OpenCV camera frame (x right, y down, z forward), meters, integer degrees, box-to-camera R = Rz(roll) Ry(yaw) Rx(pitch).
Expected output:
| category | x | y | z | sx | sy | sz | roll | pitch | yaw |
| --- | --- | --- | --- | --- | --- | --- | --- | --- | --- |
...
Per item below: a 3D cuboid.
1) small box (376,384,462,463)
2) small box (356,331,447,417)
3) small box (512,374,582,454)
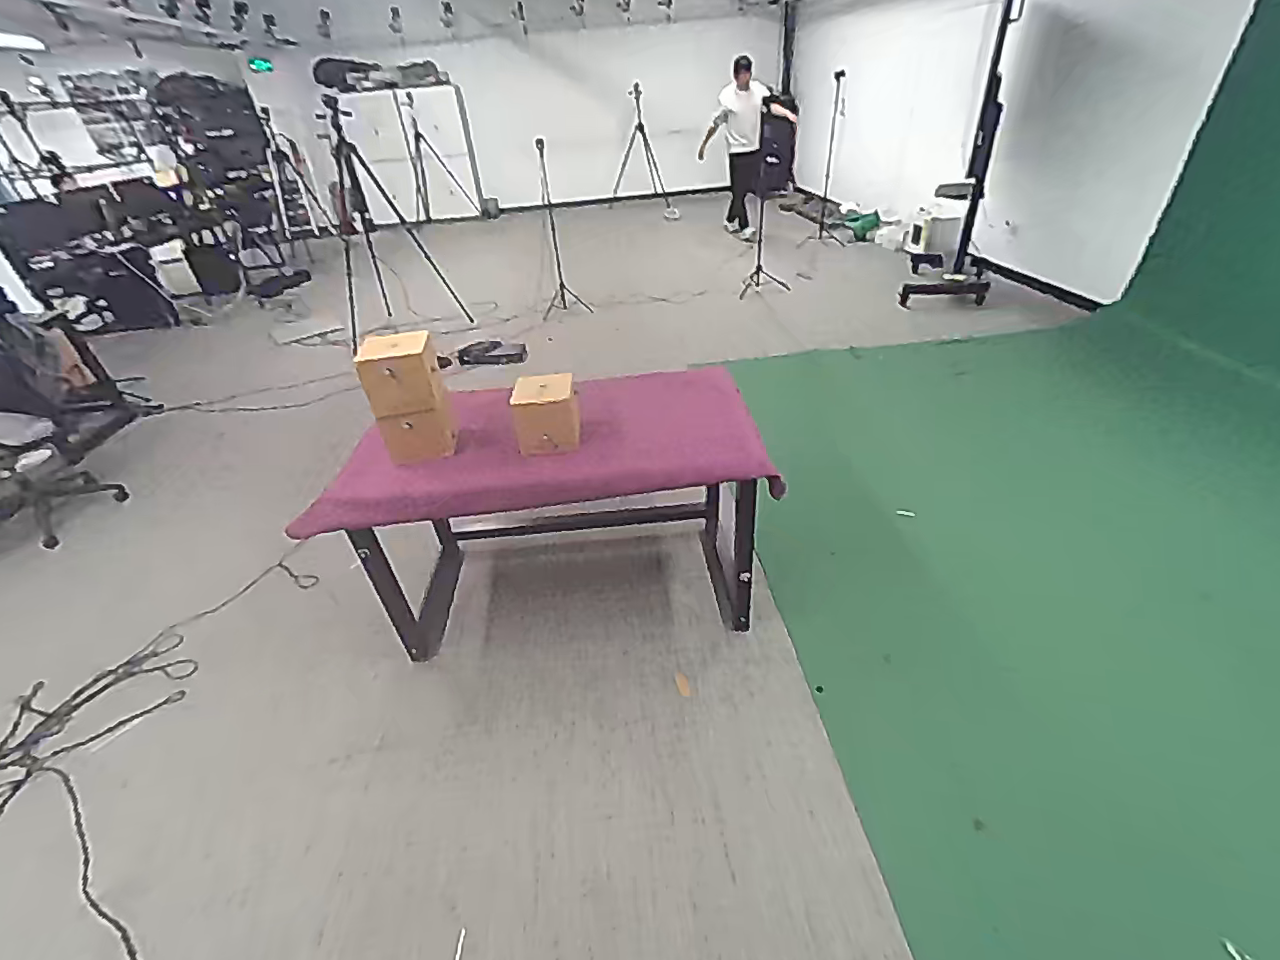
| category | x | y | z | sx | sy | sz | roll | pitch | yaw |
| --- | --- | --- | --- | --- | --- | --- | --- | --- | --- |
| small box | -0.642 | -0.163 | 1.590 | 0.179 | 0.176 | 0.168 | -8 | 36 | -5 |
| small box | -0.647 | -0.292 | 1.493 | 0.179 | 0.176 | 0.168 | -10 | 37 | -6 |
| small box | -0.265 | -0.193 | 1.584 | 0.168 | 0.176 | 0.179 | -5 | 36 | 1 |
